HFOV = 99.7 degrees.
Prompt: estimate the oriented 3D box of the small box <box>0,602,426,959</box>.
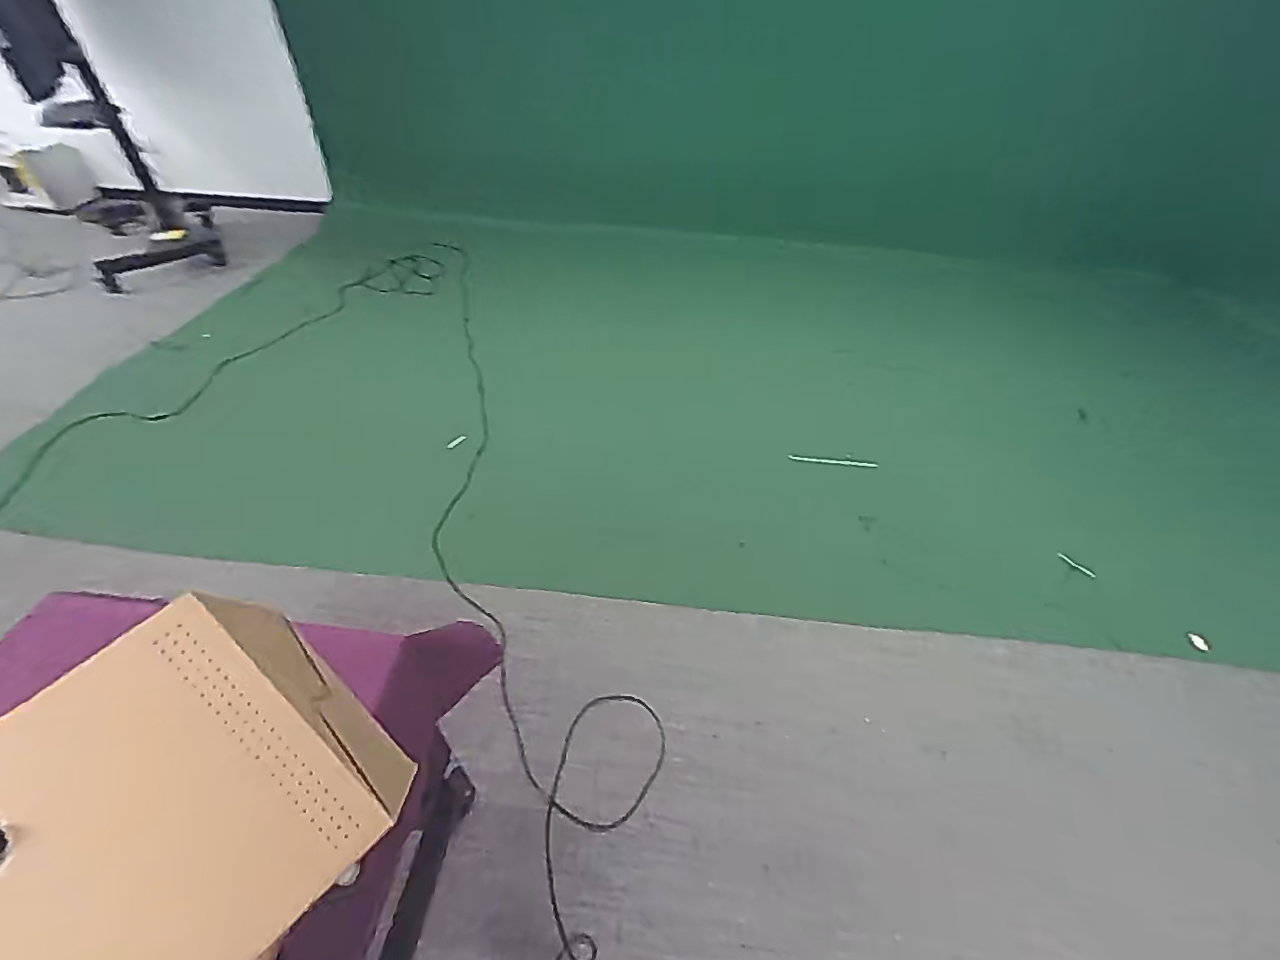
[{"bbox_3d":[-0.265,0.193,0.348,0.176,0.168,0.179,-41,89,-23],"label":"small box"}]
